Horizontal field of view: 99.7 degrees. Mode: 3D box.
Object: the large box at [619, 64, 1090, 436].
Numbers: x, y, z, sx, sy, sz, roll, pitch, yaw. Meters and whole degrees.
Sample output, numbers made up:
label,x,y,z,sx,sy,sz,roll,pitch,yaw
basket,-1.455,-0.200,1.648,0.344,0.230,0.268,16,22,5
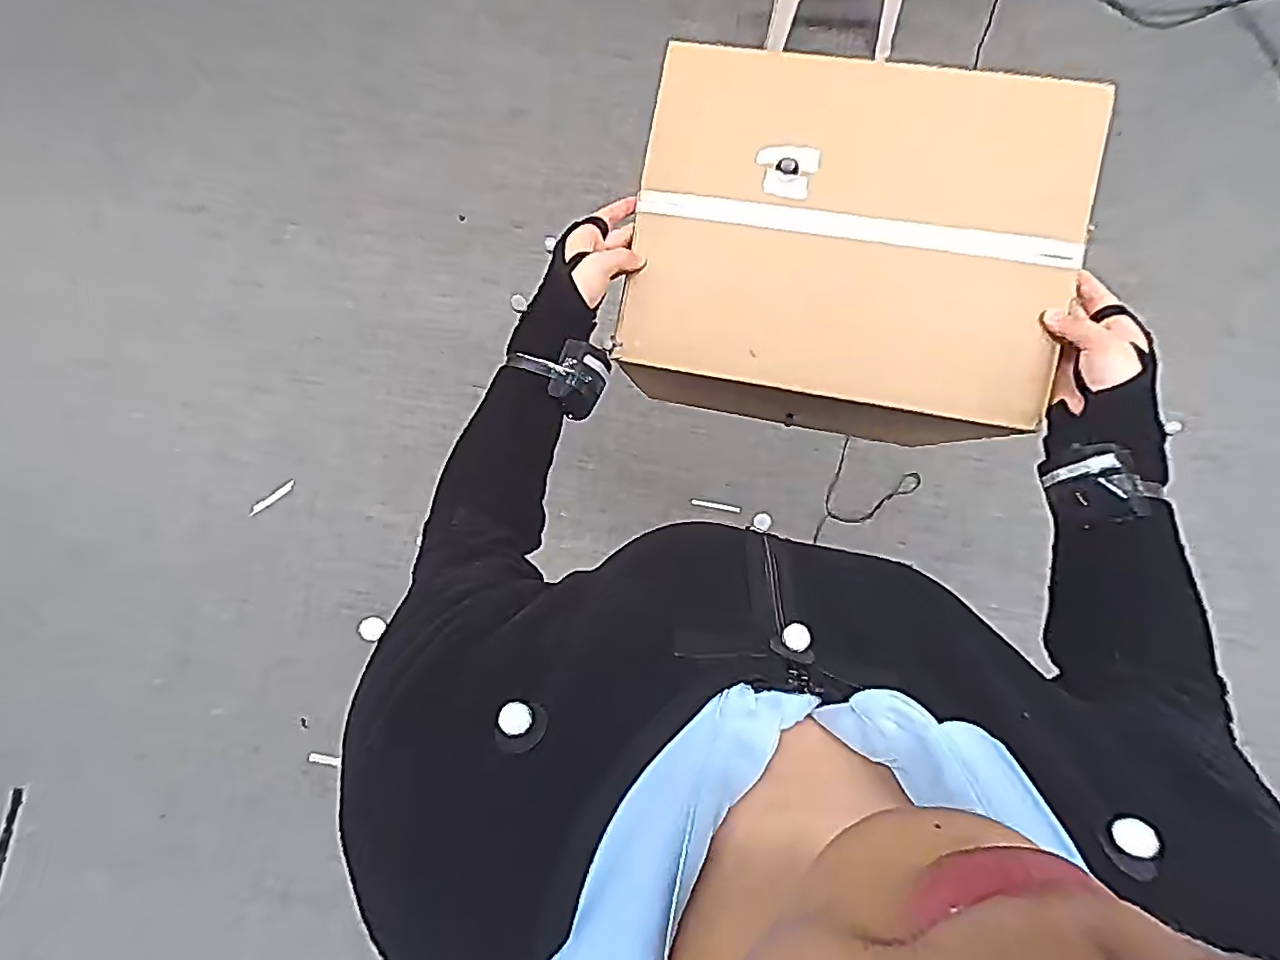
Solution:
label,x,y,z,sx,sy,sz,roll,pitch,yaw
large box,0.217,-0.240,0.672,0.408,0.320,0.320,11,91,8
